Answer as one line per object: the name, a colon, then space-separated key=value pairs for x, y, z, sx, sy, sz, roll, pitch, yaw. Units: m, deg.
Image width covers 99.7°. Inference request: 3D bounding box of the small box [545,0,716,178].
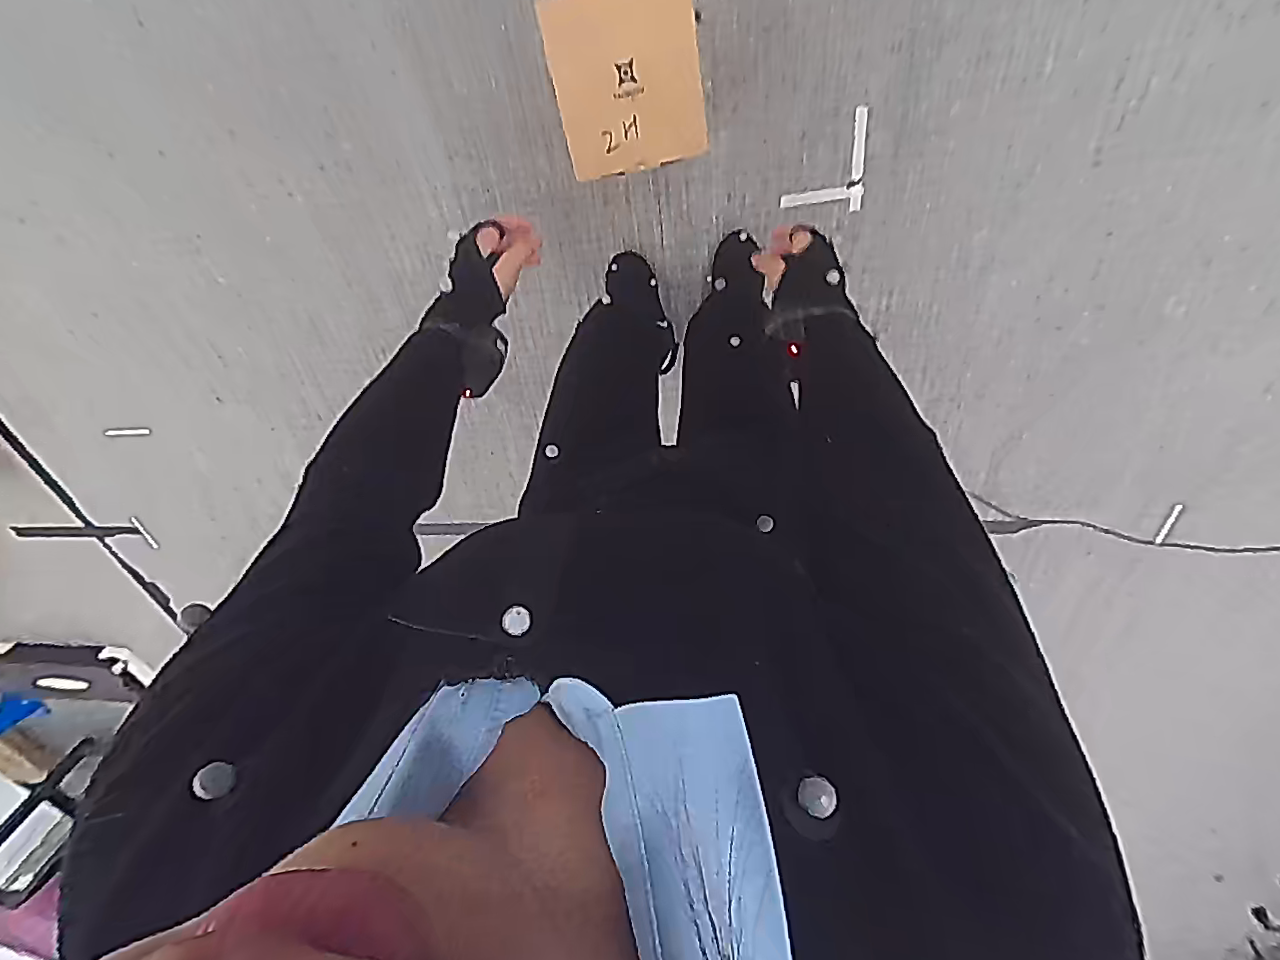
small box: x=0.000 y=-0.493 z=0.664 sx=0.168 sy=0.176 sz=0.179 roll=-6 pitch=126 yaw=11
